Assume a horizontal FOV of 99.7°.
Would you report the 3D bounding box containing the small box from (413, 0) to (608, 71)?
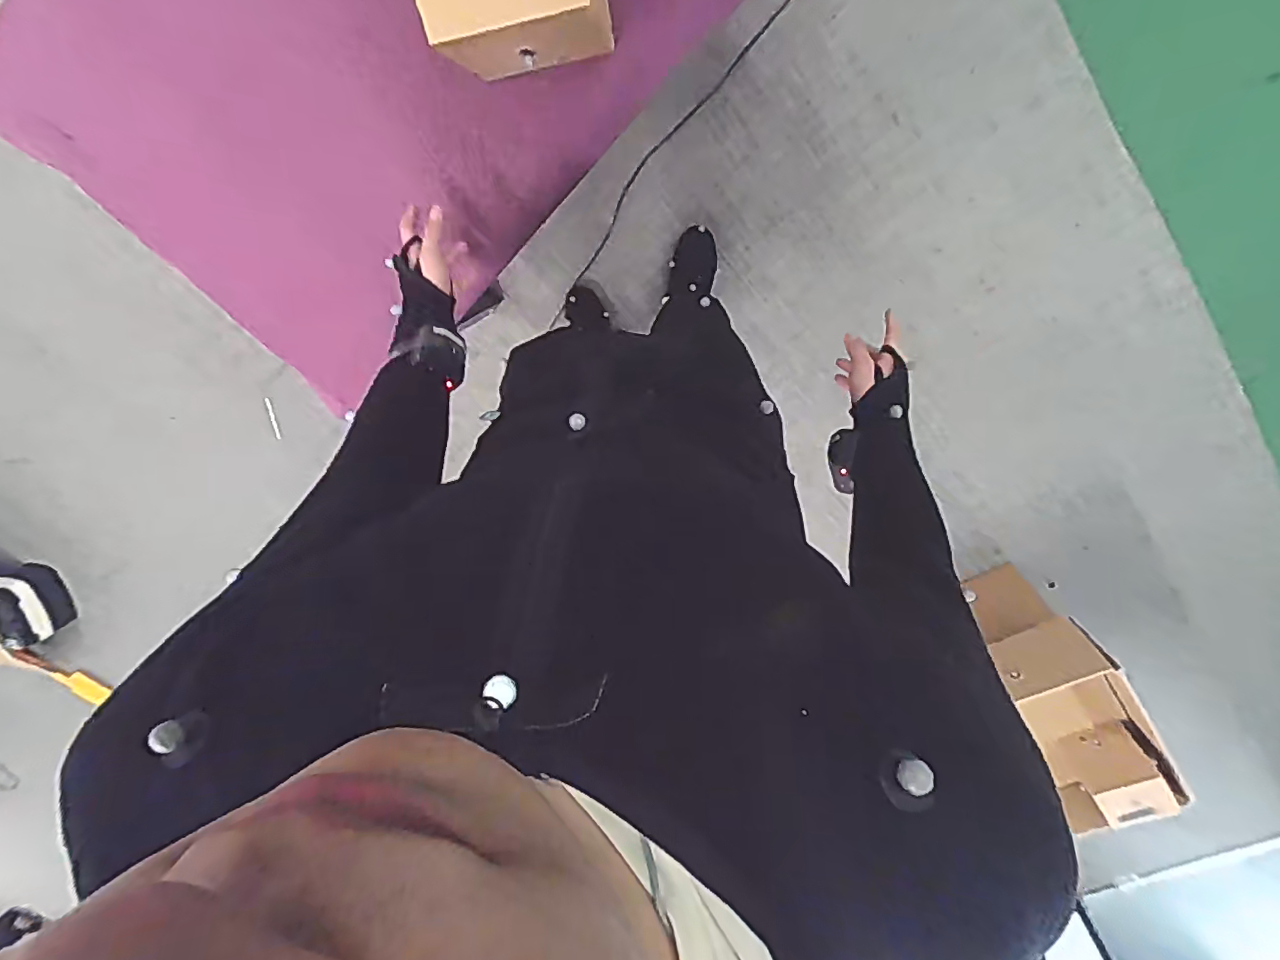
[{"bbox_3d":[-0.134,-0.539,0.543,0.168,0.176,0.179,-7,117,8],"label":"small box"}]
